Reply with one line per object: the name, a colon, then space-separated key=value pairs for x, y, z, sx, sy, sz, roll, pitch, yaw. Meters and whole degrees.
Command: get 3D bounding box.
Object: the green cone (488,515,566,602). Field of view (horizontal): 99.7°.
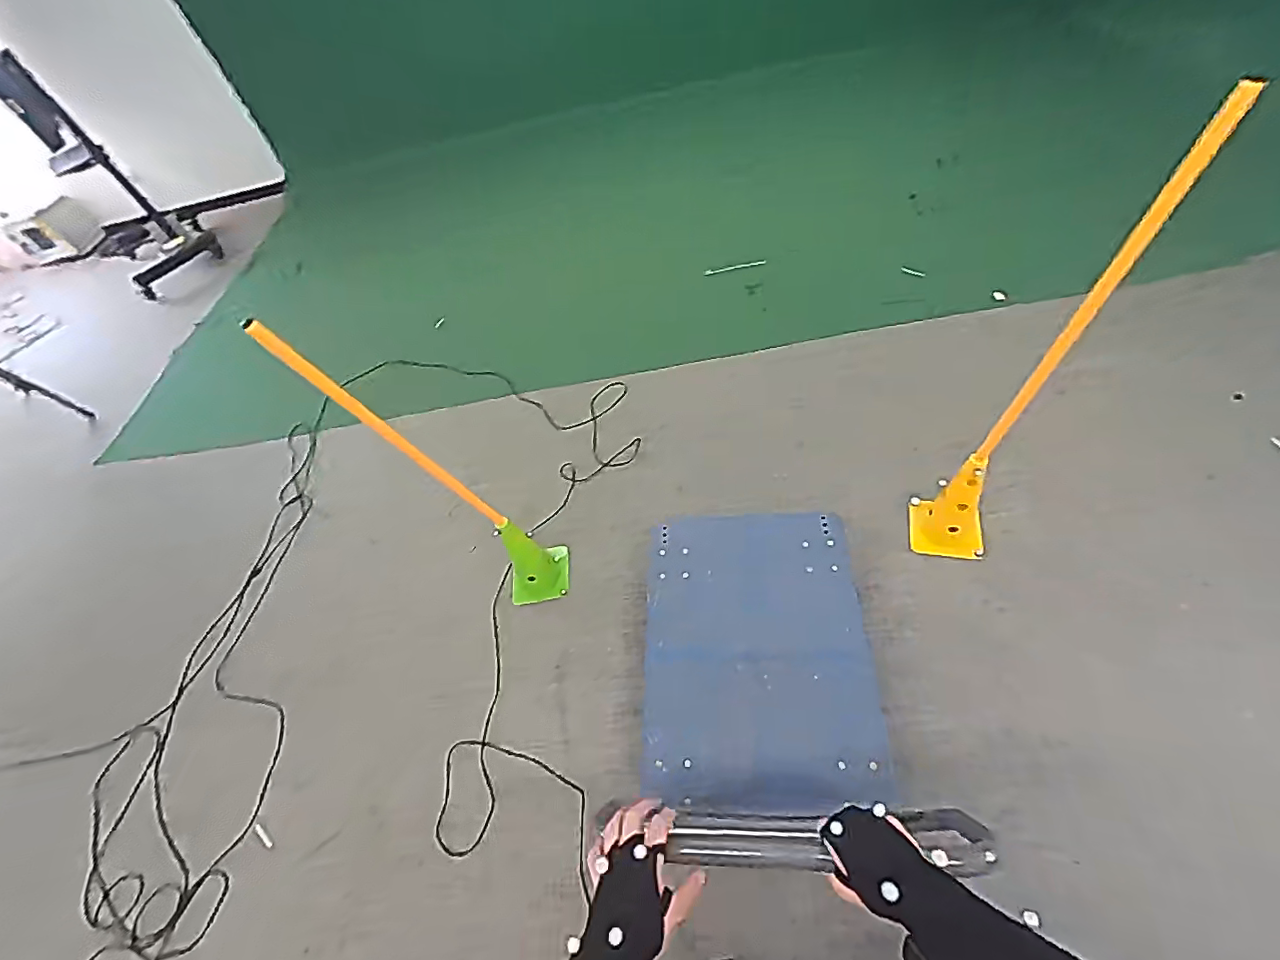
green cone: x=-0.390 y=0.218 z=1.740 sx=0.202 sy=0.368 sz=0.200 roll=-13 pitch=52 yaw=6
